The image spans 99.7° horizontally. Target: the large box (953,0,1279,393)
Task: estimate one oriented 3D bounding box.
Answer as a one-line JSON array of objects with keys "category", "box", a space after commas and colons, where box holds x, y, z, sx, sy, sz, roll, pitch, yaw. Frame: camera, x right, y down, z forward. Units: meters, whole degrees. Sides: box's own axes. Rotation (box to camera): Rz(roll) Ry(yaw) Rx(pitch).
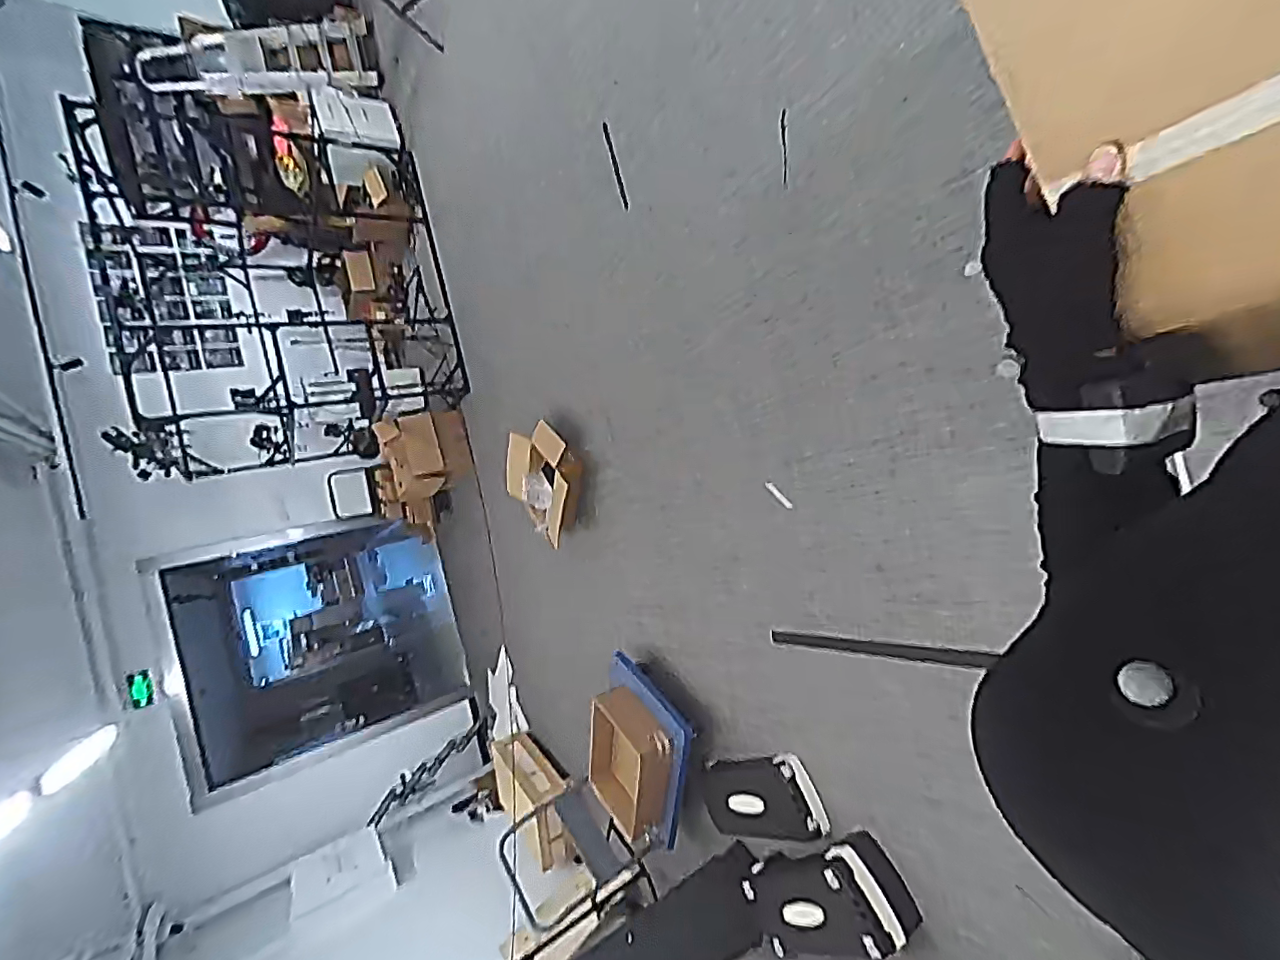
[{"category": "large box", "box": [0.457, -0.291, 0.248, 0.320, 0.320, 0.408, 50, 154, -17]}]
